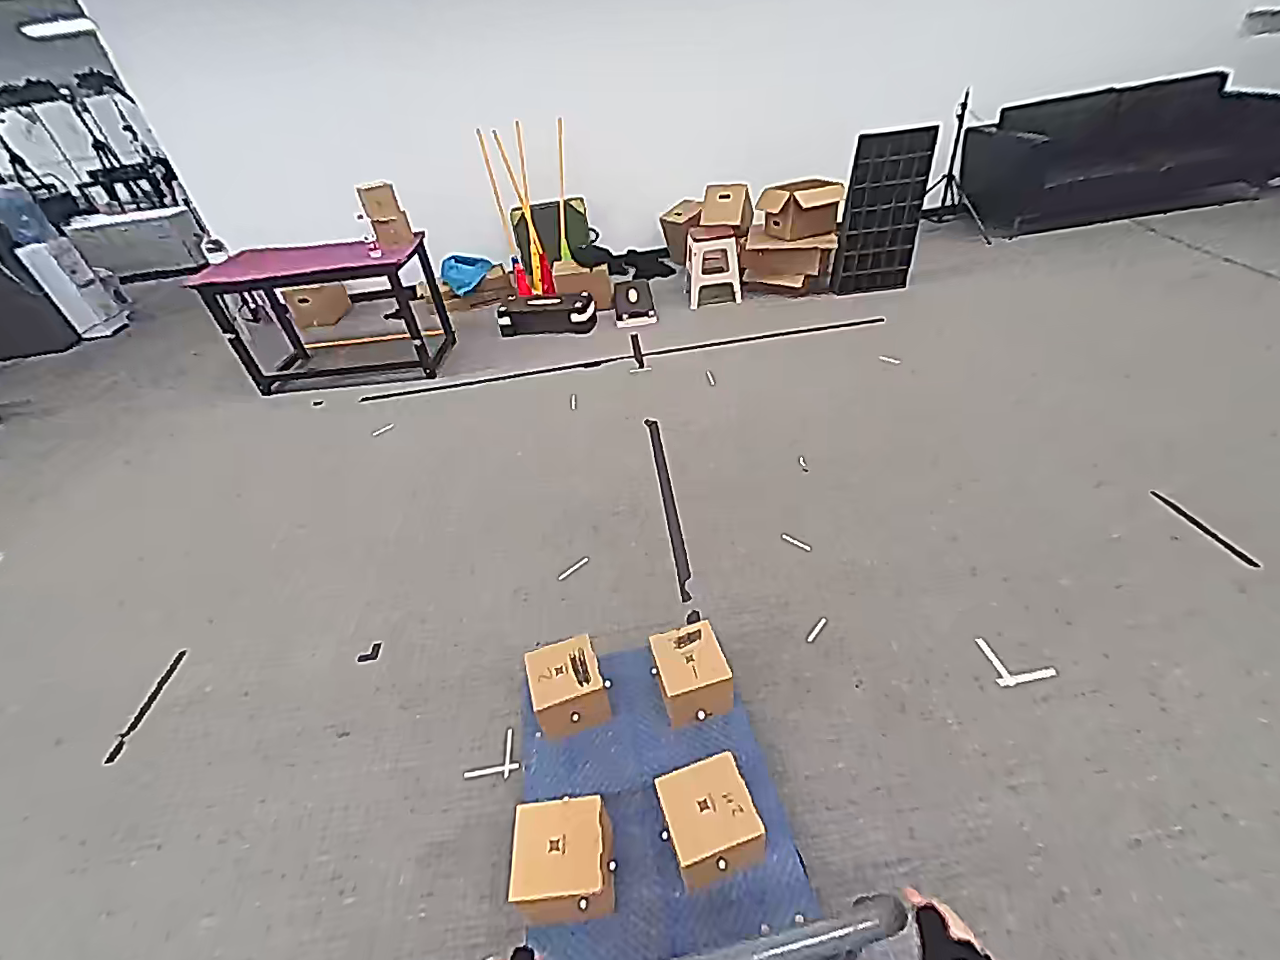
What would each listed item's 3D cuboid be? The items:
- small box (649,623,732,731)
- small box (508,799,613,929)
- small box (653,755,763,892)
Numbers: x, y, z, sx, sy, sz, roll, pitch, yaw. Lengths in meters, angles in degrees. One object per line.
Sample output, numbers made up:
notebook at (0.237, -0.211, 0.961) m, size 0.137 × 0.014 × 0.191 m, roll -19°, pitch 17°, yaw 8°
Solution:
small box at (0.127, 0.503, 1.385) m, size 0.168 × 0.176 × 0.179 m, roll -15°, pitch 40°, yaw -8°
small box at (-0.154, 0.779, 1.095) m, size 0.179 × 0.176 × 0.168 m, roll -7°, pitch 38°, yaw -1°
small box at (0.142, 0.714, 1.122) m, size 0.179 × 0.176 × 0.168 m, roll -16°, pitch 40°, yaw -9°
